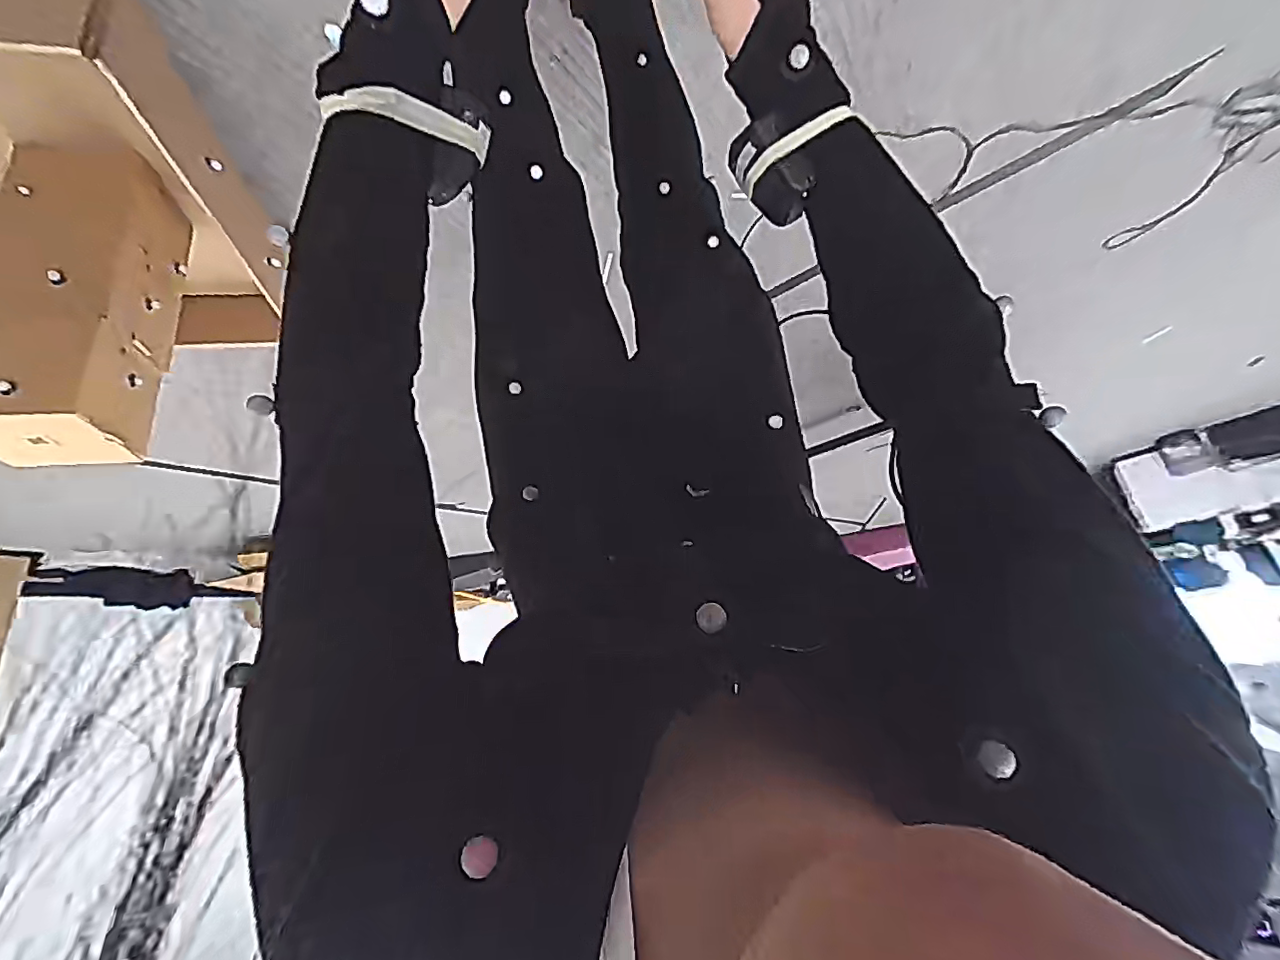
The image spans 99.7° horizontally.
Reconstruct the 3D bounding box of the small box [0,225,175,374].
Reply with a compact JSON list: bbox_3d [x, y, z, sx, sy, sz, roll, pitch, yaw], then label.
[{"bbox_3d":[-0.895,-0.286,0.874,0.179,0.176,0.168,-4,159,-16],"label":"small box"}]

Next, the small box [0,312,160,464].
[{"bbox_3d":[-0.877,-0.136,0.812,0.179,0.176,0.168,-4,159,-15],"label":"small box"}]
